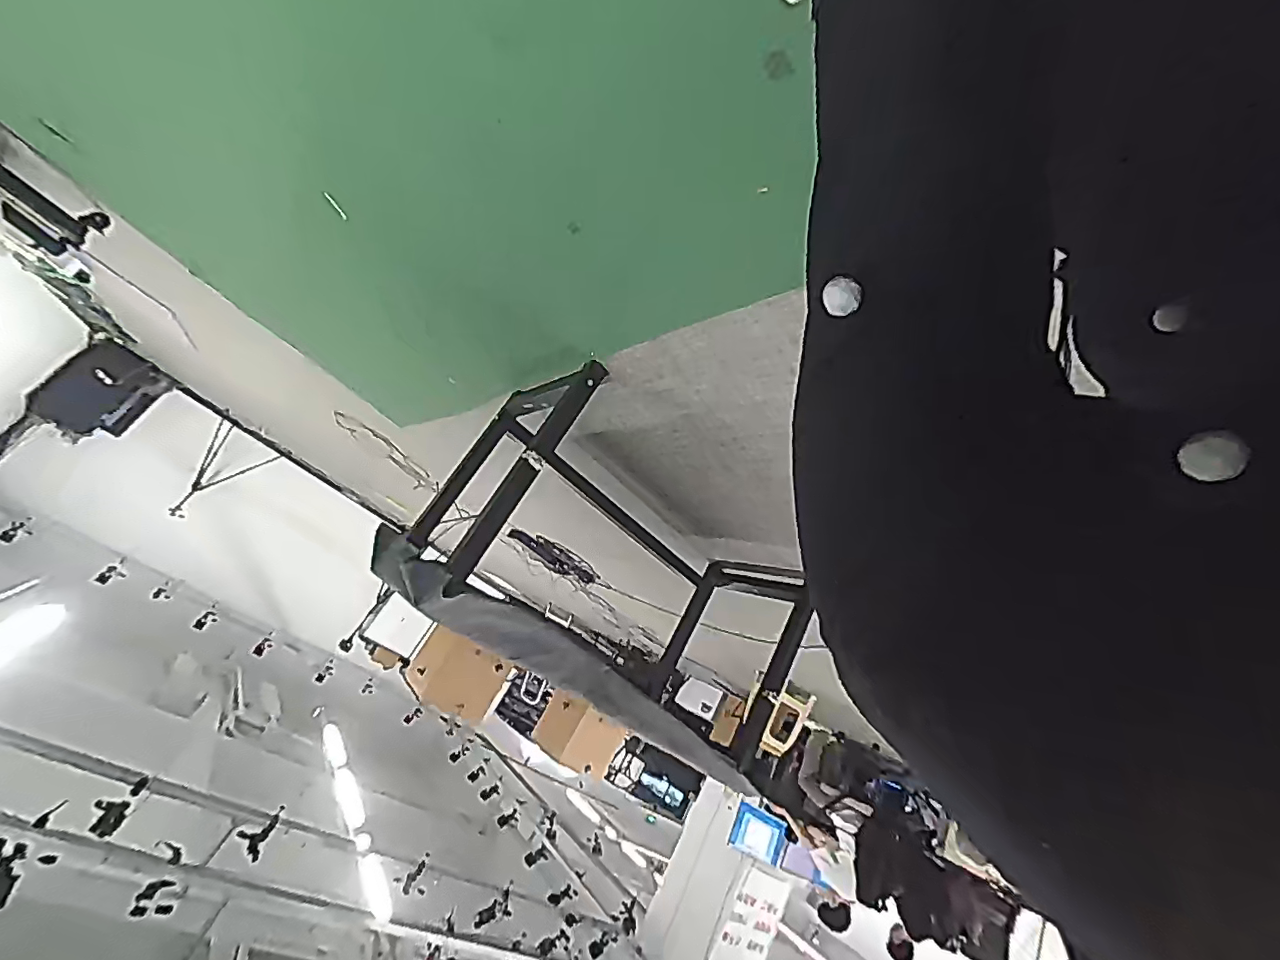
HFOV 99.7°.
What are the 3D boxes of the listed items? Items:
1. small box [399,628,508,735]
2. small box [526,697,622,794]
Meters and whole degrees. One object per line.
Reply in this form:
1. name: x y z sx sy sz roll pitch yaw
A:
1. small box: -0.449 0.481 1.316 0.168 0.176 0.179 43 158 -28
2. small box: -0.181 0.735 1.518 0.168 0.176 0.179 43 157 -27
